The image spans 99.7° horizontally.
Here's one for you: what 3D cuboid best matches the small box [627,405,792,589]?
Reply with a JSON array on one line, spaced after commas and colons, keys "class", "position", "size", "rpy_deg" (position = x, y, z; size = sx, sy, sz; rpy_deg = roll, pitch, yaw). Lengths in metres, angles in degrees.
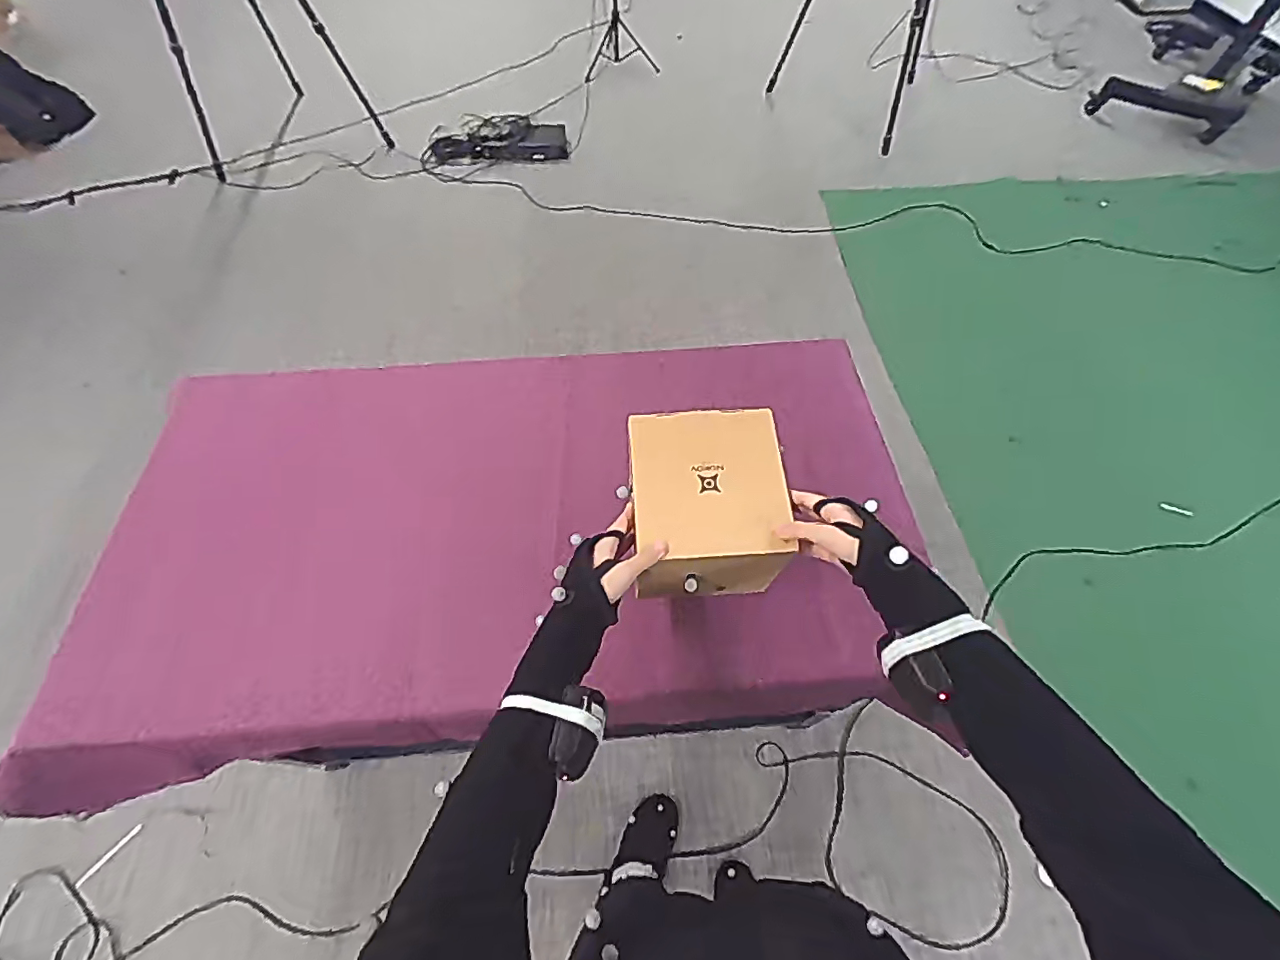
[{"class": "small box", "position": [0.072, 0.030, 0.660], "size": [0.168, 0.176, 0.179], "rpy_deg": [-3, 63, -2]}]
